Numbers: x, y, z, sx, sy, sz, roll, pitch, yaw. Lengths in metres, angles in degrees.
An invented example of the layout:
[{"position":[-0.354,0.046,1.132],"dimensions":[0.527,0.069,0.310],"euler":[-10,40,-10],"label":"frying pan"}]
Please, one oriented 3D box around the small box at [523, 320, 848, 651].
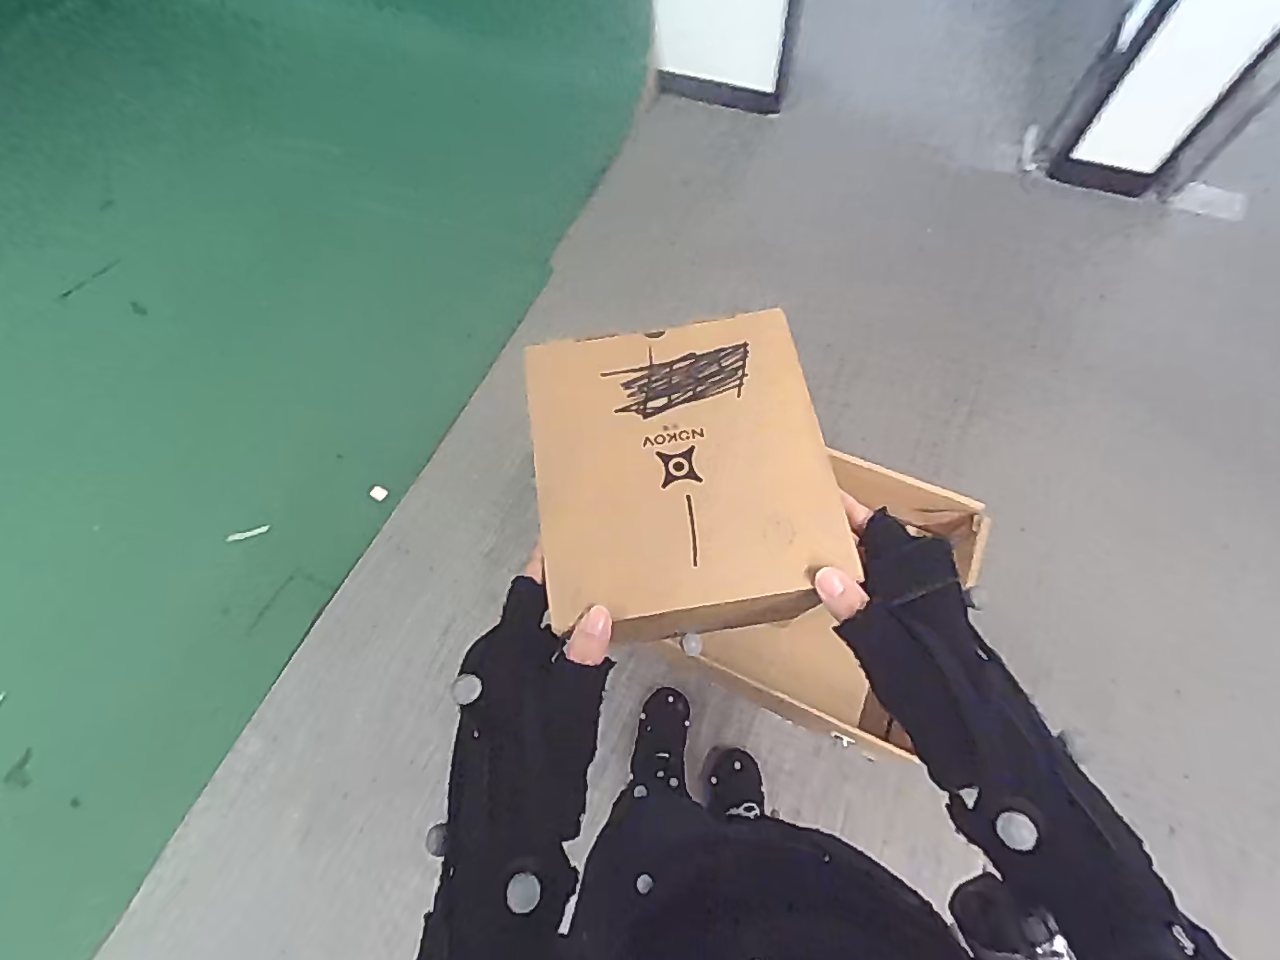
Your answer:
[{"position":[0.021,0.017,0.390],"dimensions":[0.168,0.176,0.179],"euler":[-10,69,0],"label":"small box"}]
